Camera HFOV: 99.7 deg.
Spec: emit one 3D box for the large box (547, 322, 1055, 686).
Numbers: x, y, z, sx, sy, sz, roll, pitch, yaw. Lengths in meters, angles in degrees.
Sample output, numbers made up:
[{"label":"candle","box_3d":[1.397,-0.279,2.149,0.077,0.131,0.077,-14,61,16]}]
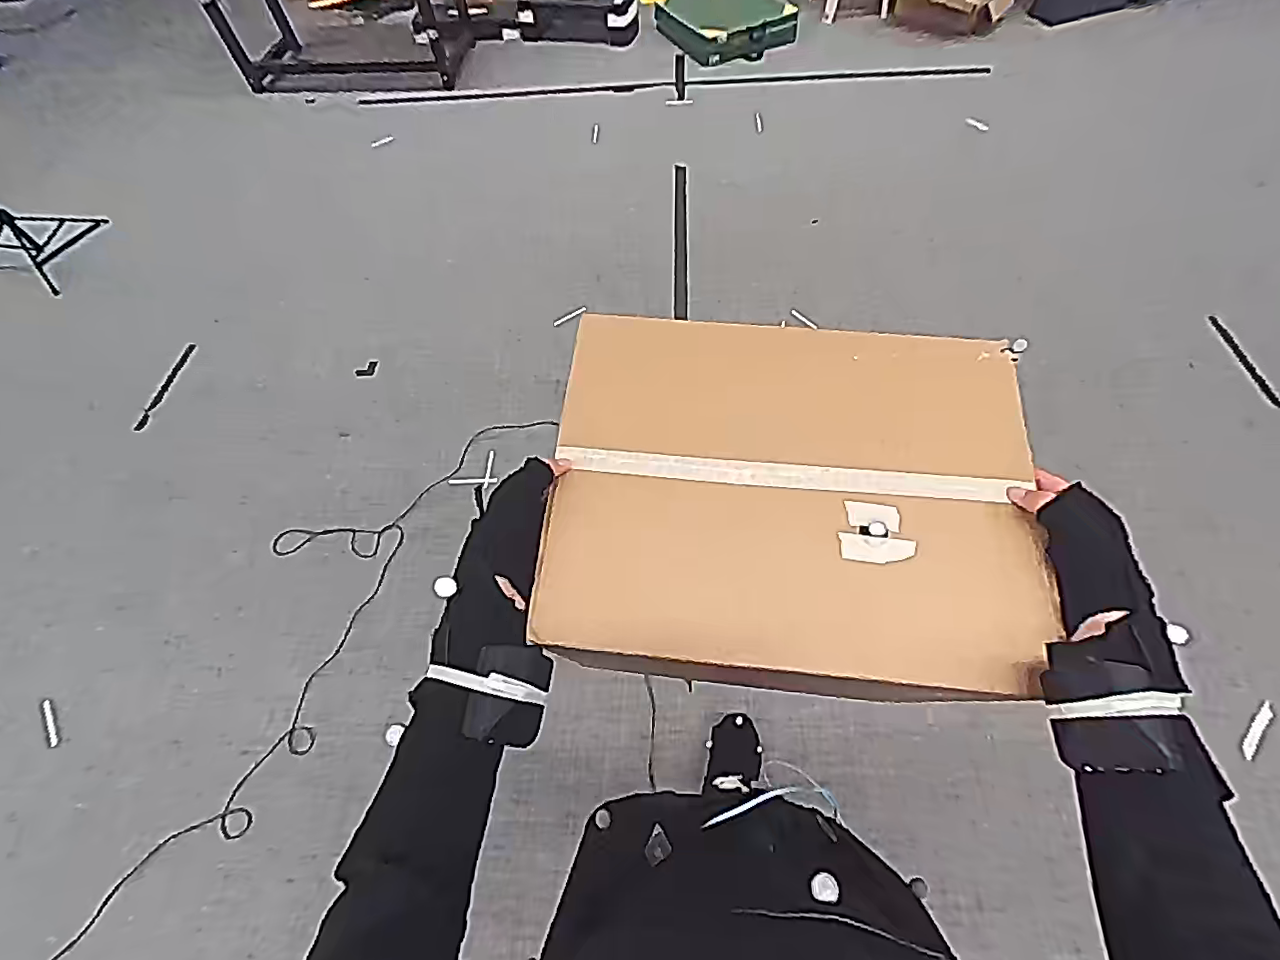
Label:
[{"label":"large box","box_3d":[0.134,0.051,0.614,0.408,0.320,0.320,5,69,3]}]
